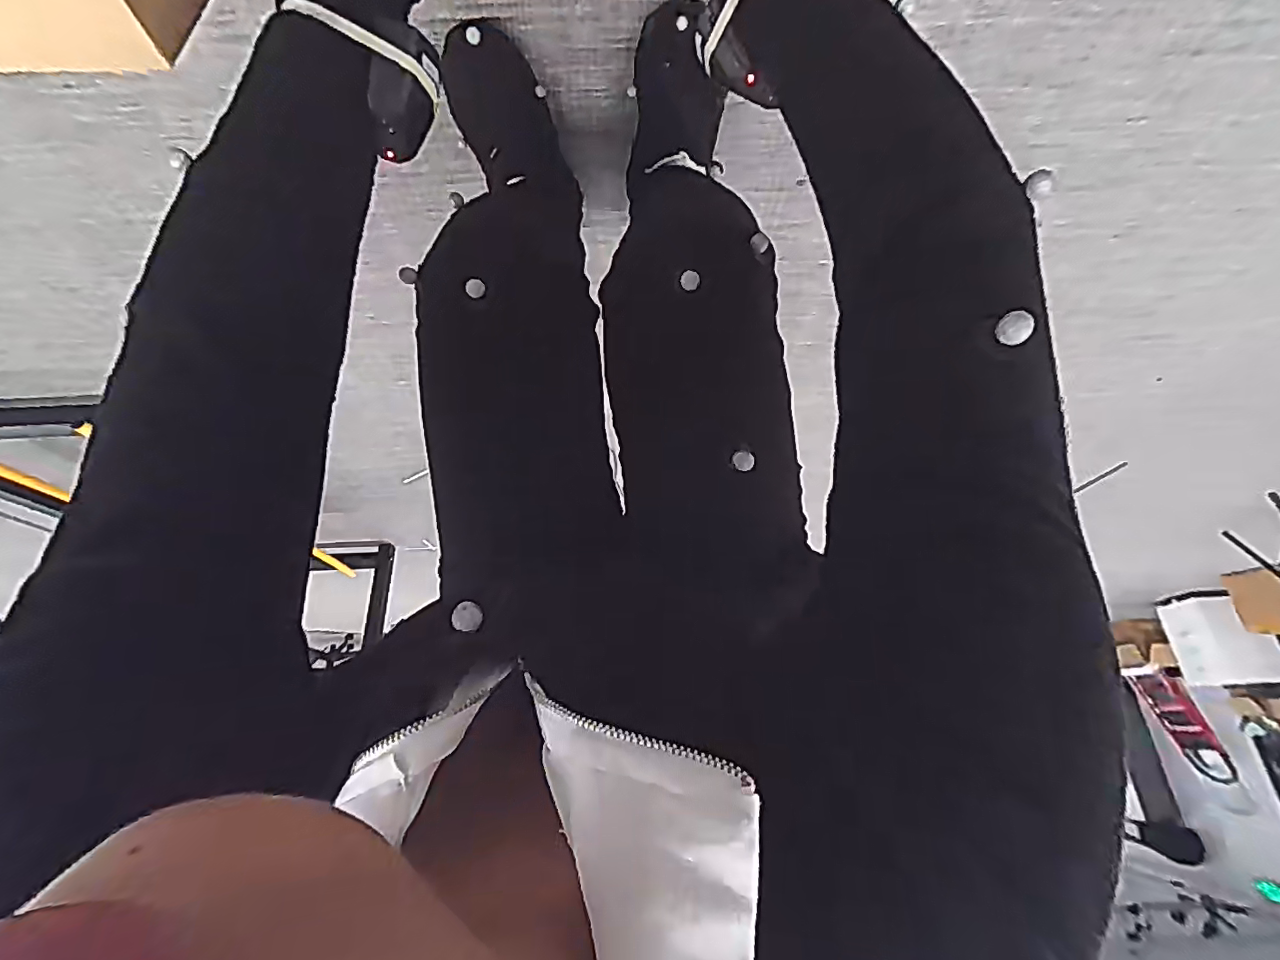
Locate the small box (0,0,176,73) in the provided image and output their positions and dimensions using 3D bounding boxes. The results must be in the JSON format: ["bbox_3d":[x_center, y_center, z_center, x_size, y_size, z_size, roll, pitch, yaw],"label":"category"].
[{"bbox_3d":[-0.371,-0.351,0.280,0.179,0.176,0.168,-2,156,-3],"label":"small box"}]
